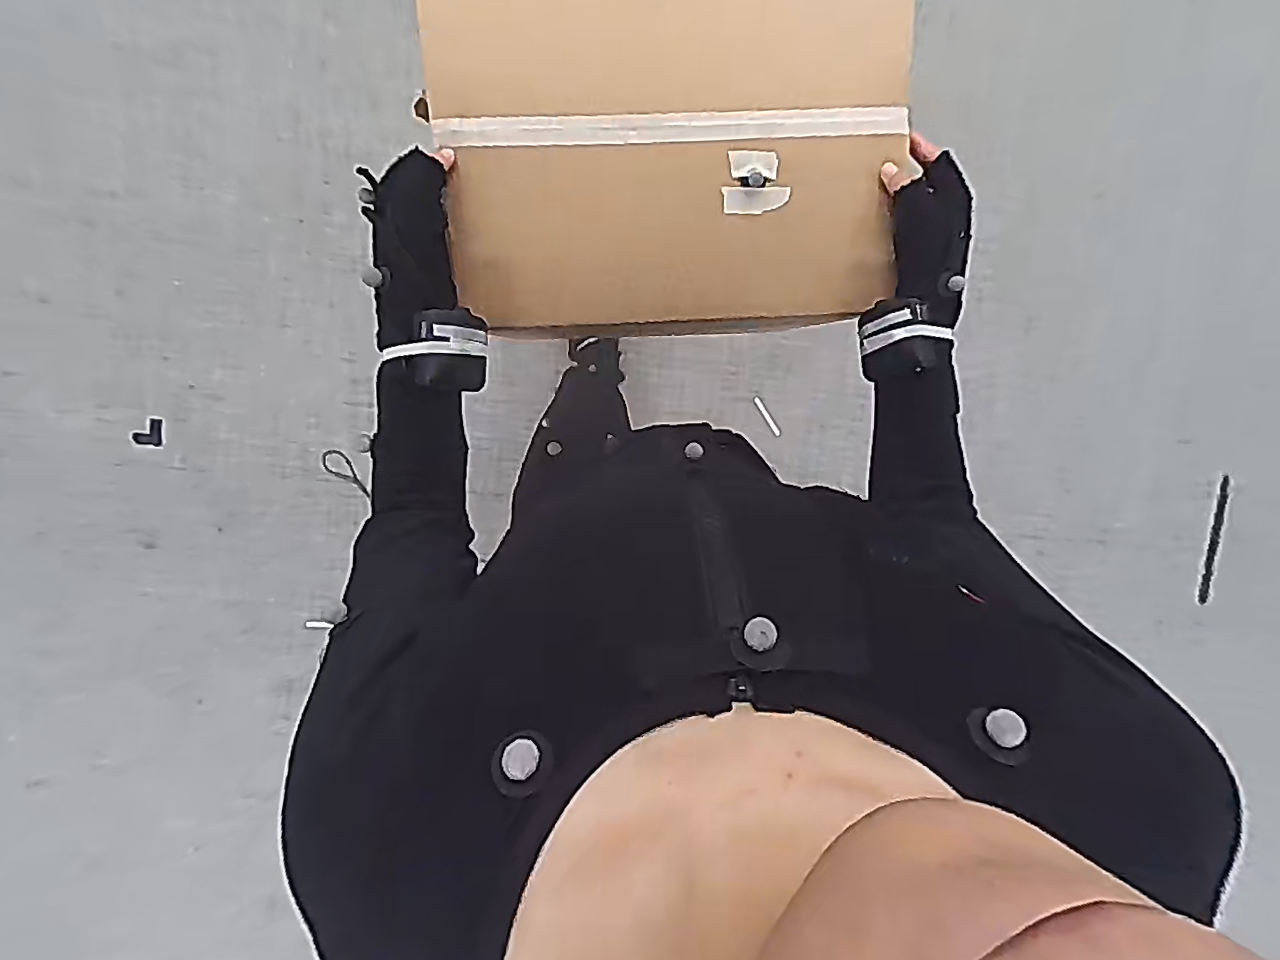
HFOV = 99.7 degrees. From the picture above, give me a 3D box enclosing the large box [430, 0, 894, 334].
[{"bbox_3d":[0.017,-0.347,0.625,0.408,0.320,0.320,-4,103,-4],"label":"large box"}]
